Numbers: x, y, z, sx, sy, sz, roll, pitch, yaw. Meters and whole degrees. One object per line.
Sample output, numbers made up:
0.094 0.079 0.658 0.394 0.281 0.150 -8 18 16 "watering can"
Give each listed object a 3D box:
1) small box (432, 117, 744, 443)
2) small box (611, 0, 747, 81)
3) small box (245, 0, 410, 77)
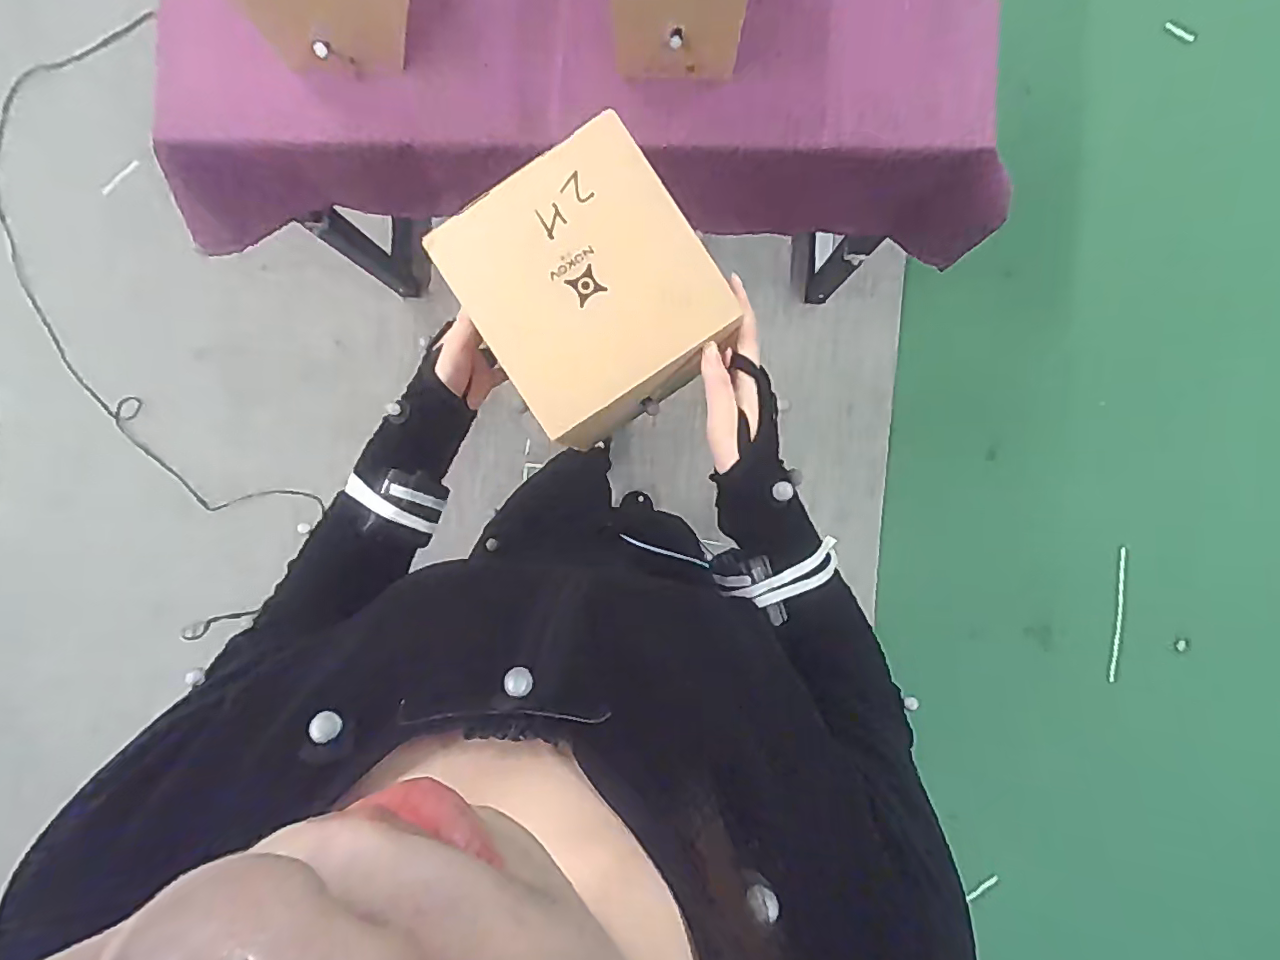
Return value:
-0.034 -0.145 0.464 0.168 0.176 0.179 -32 90 2 "small box"
0.053 -0.649 0.687 0.168 0.176 0.179 3 91 1 "small box"
-0.413 -0.670 0.694 0.168 0.176 0.179 4 91 1 "small box"
